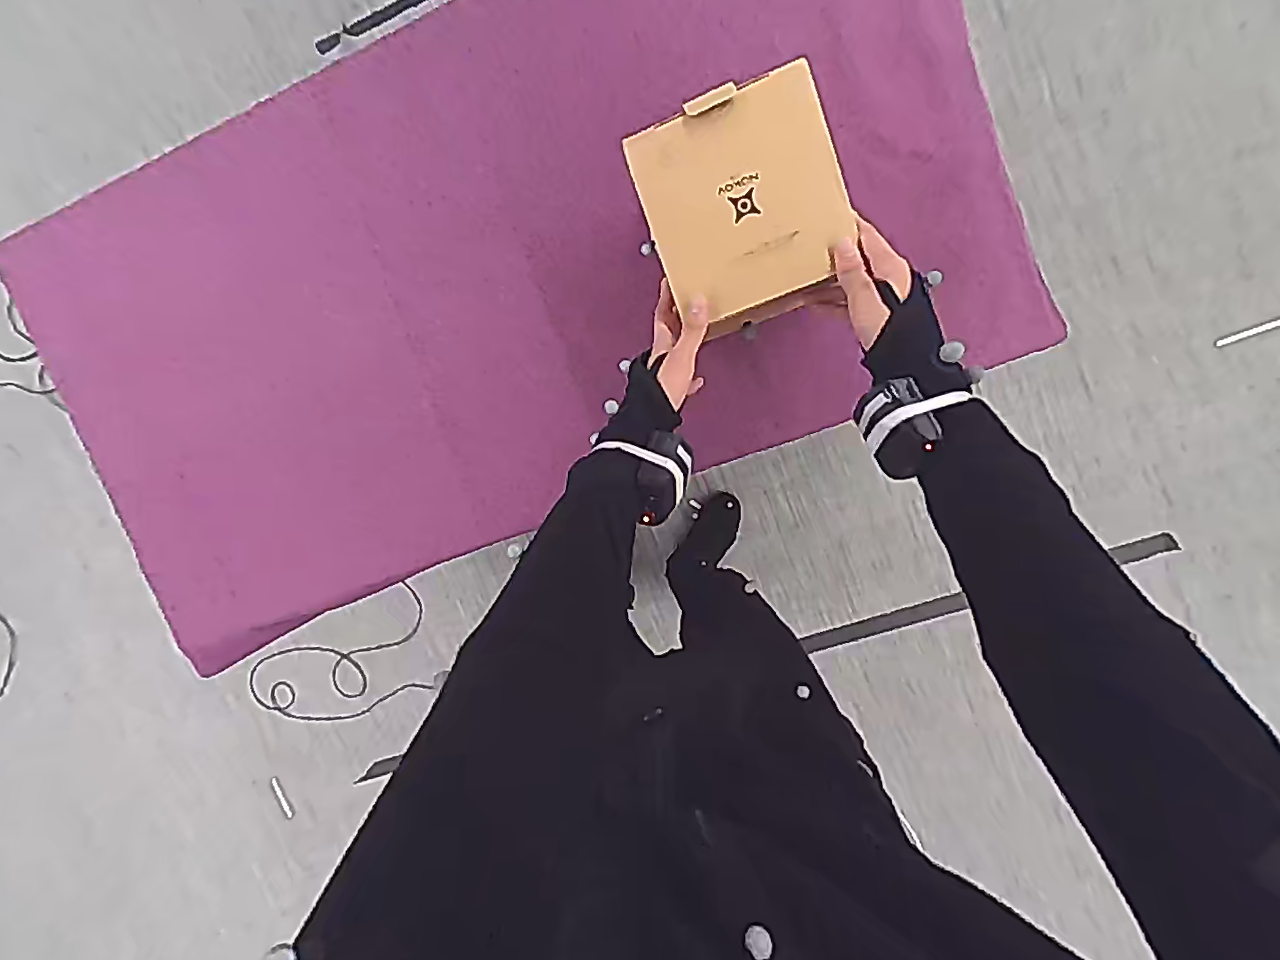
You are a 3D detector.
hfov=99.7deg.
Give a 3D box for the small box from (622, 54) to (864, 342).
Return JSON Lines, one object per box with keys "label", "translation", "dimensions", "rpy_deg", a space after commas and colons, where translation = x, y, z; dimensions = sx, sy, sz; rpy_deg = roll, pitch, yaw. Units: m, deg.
{"label": "small box", "translation": [0.095, -0.251, 0.534], "dimensions": [0.168, 0.176, 0.179], "rpy_deg": [-18, 97, 10]}
